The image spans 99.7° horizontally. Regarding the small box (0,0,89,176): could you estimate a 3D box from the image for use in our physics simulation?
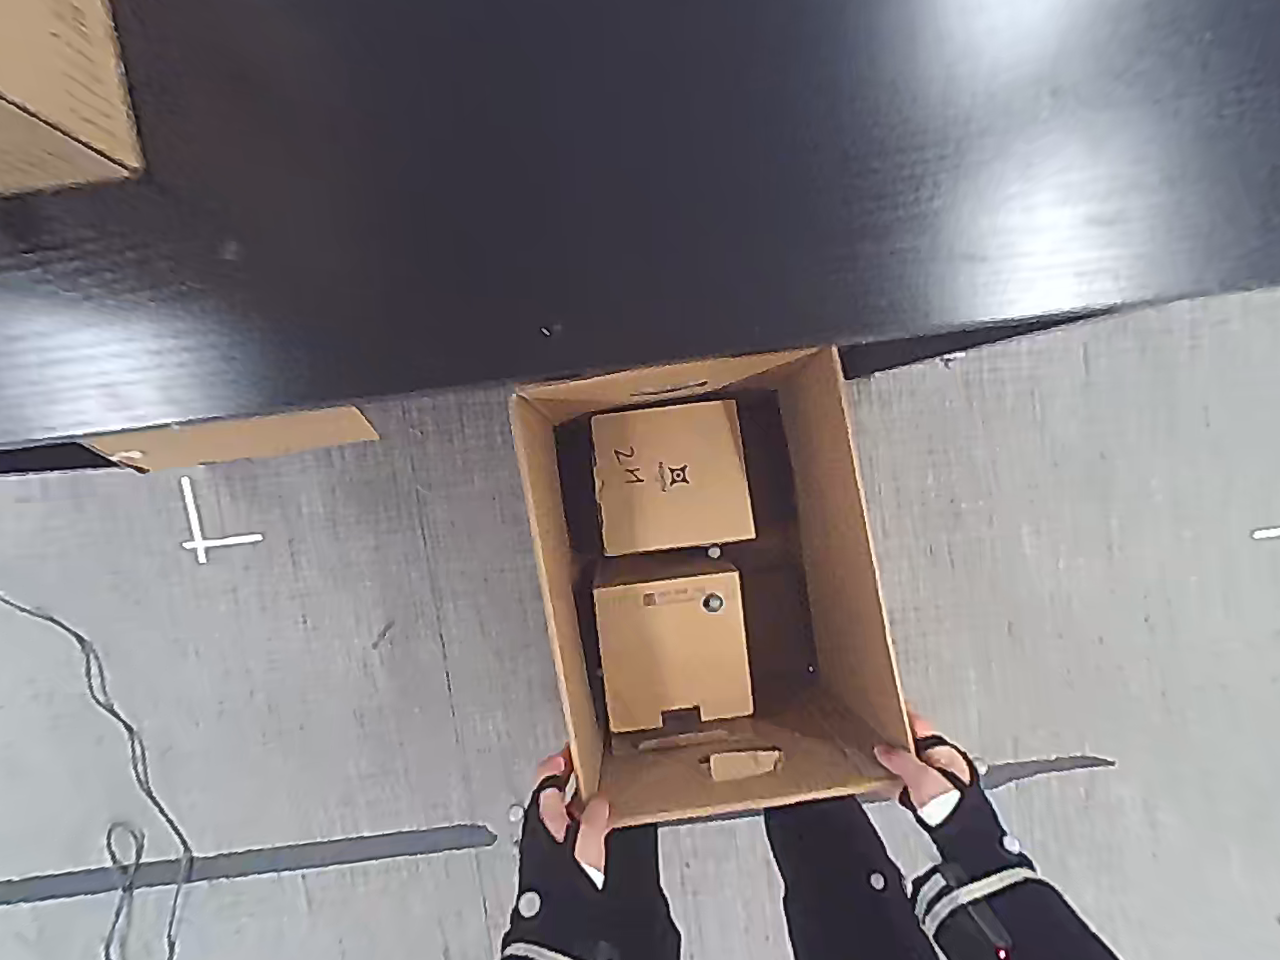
[{"bbox_3d":[-0.288,-0.185,0.121,0.179,0.176,0.168,-9,95,-2],"label":"small box"}]
